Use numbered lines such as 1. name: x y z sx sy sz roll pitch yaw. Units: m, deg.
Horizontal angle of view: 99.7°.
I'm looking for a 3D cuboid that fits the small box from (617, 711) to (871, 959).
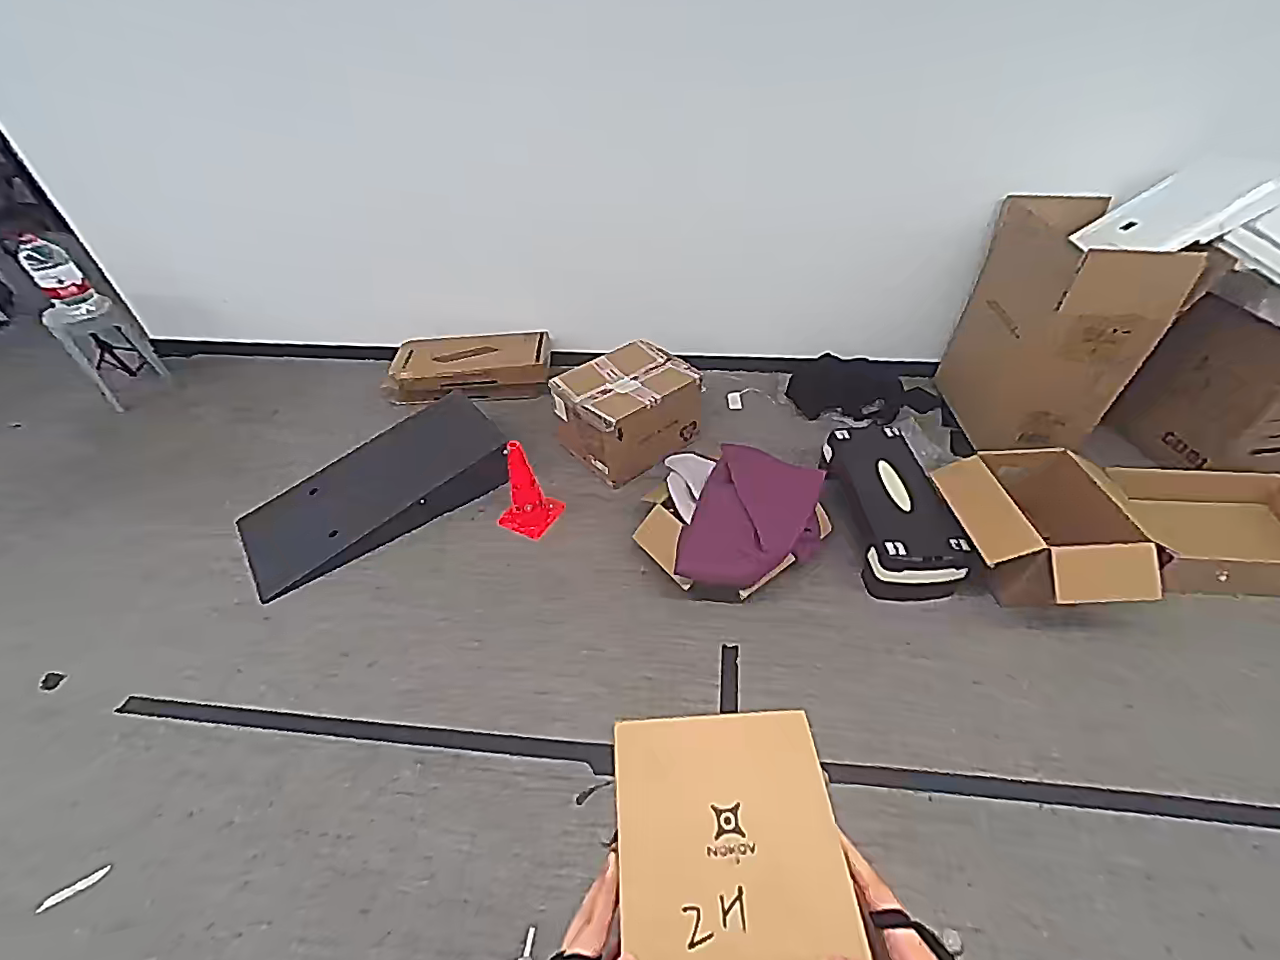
1. small box: 0.064 0.318 0.456 0.168 0.176 0.179 -3 46 -2
